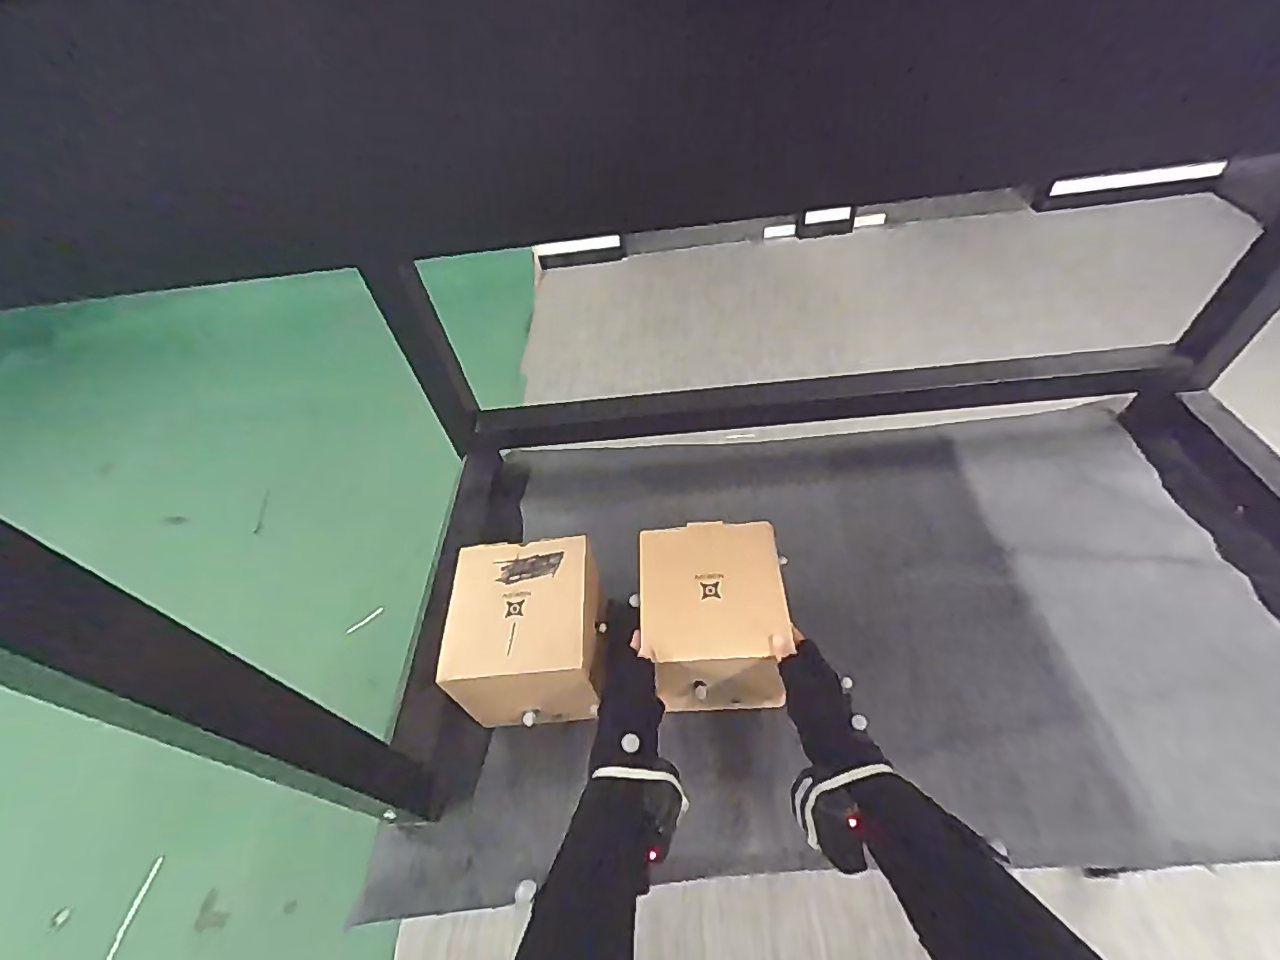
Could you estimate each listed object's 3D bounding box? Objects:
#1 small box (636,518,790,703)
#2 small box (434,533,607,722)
[{"bbox_3d":[0.088,0.170,0.682,0.168,0.176,0.179,-4,48,5],"label":"small box"},{"bbox_3d":[-0.138,0.192,0.696,0.168,0.176,0.179,-6,49,4],"label":"small box"}]
